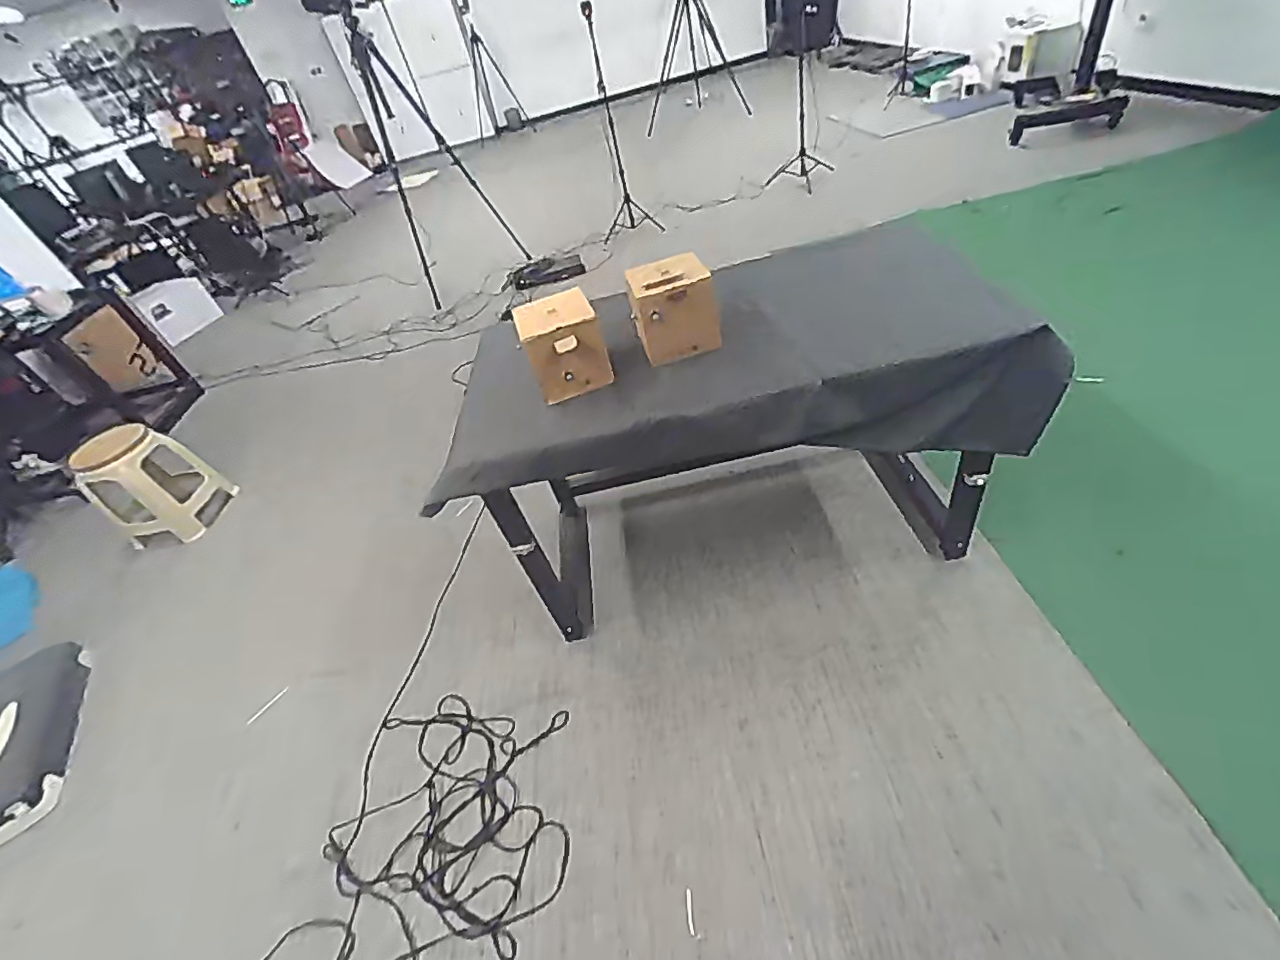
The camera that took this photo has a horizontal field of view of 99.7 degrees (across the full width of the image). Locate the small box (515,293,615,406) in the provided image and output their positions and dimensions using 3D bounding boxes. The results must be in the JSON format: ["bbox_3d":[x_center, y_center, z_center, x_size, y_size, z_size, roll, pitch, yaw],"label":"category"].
[{"bbox_3d":[-0.169,-0.295,1.225,0.168,0.176,0.179,-20,42,-5],"label":"small box"}]
